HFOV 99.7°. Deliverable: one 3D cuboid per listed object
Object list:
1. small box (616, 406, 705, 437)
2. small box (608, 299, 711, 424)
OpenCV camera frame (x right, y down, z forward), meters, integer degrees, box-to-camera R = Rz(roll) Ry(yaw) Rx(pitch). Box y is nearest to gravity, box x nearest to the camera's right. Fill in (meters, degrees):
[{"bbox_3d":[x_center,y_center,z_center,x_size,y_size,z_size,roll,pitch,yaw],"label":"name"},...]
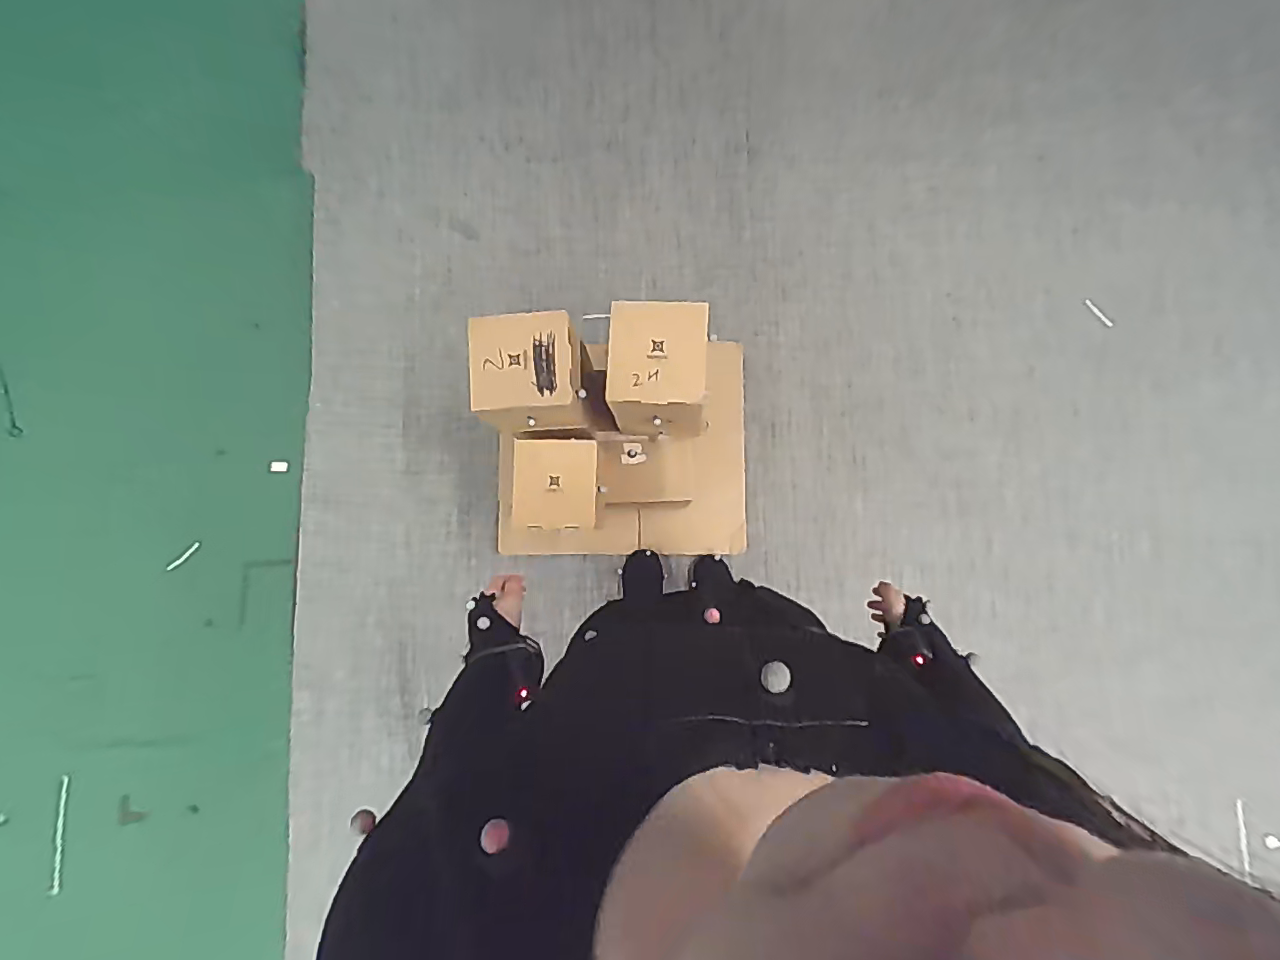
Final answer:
[{"bbox_3d":[0.047,-0.187,1.139,0.179,0.176,0.168,2,84,5],"label":"small box"},{"bbox_3d":[0.038,-0.206,0.973,0.168,0.176,0.179,2,84,6],"label":"small box"}]
